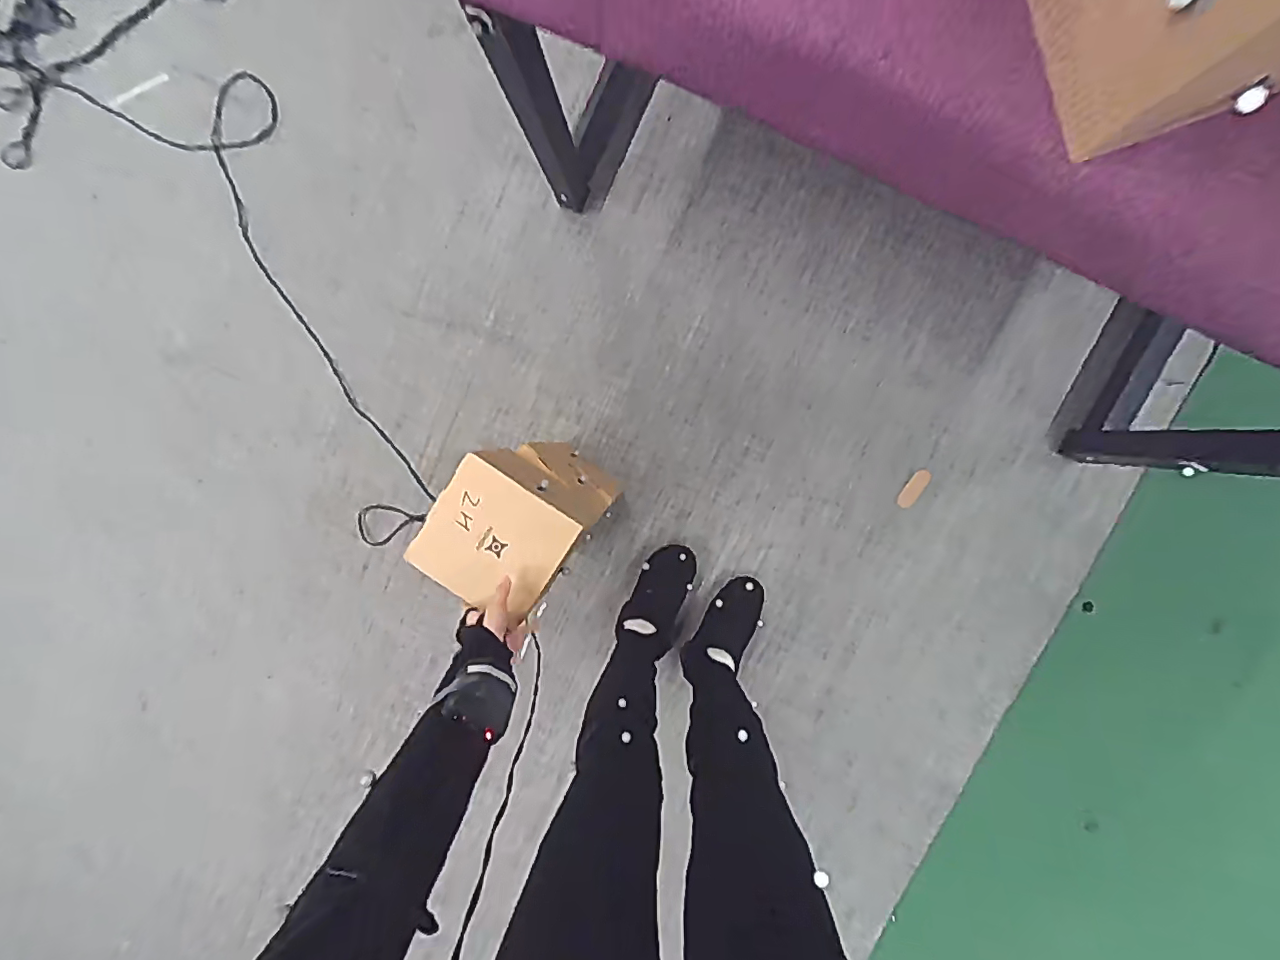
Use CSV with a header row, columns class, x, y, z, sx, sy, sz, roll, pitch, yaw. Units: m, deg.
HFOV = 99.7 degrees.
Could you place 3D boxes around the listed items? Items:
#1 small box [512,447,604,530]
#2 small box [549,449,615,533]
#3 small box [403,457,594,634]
class,x,y,z,sx,sy,sz,roll,pitch,yaw
small box,-0.180,0.061,0.923,0.179,0.176,0.168,-43,90,5
small box,-0.163,0.050,1.084,0.168,0.176,0.179,41,96,0
small box,-0.182,0.078,0.758,0.179,0.176,0.168,35,94,1
